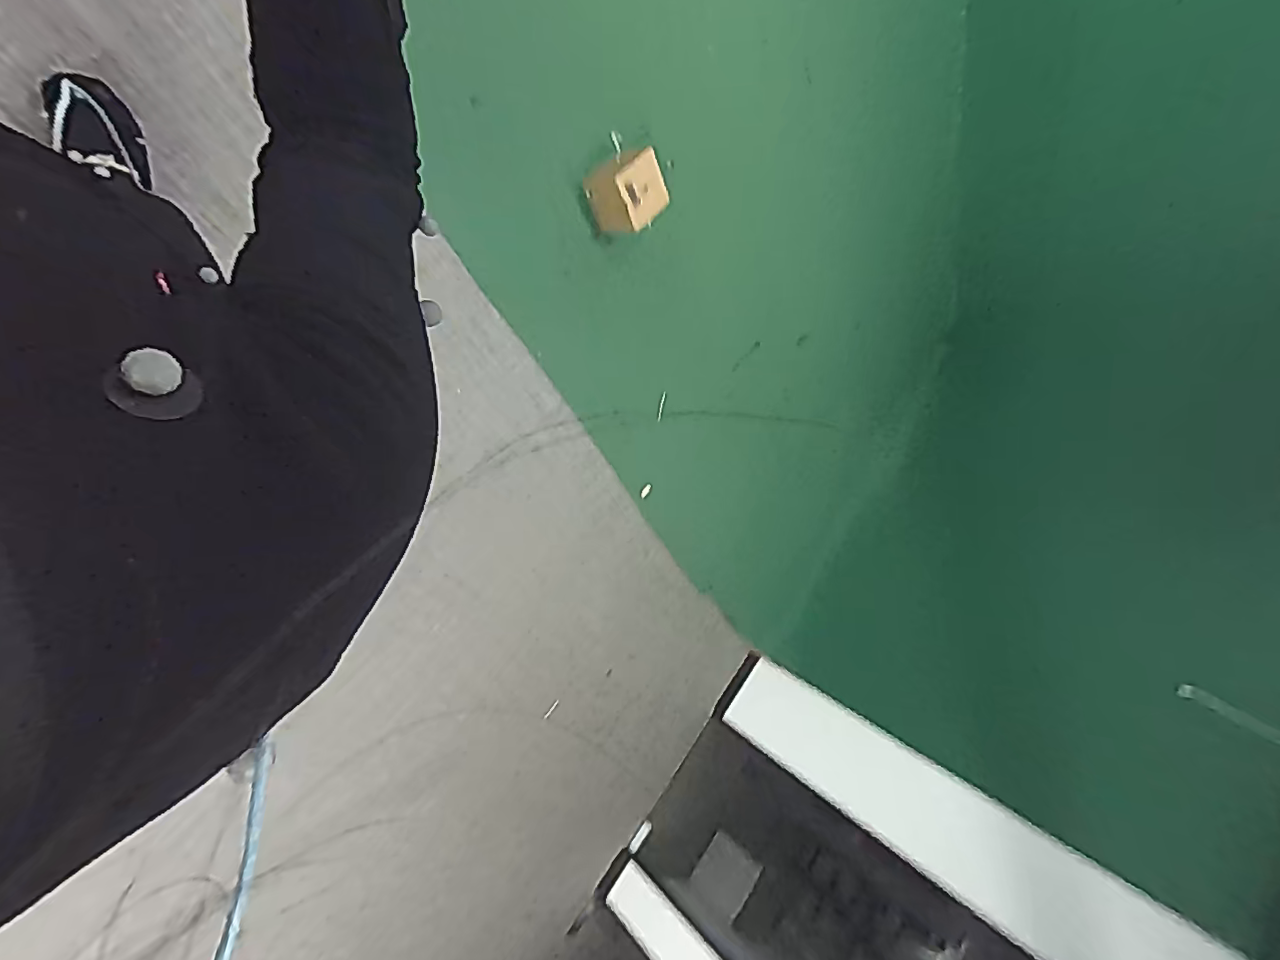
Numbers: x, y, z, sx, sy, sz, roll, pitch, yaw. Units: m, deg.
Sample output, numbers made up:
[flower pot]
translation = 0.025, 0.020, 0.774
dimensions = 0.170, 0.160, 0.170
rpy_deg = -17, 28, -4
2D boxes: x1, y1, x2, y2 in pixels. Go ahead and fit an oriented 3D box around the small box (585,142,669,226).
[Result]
[small box]
translation = -0.046, -0.907, 1.668
dimensions = 0.179, 0.176, 0.168
rpy_deg = -49, 138, -18
